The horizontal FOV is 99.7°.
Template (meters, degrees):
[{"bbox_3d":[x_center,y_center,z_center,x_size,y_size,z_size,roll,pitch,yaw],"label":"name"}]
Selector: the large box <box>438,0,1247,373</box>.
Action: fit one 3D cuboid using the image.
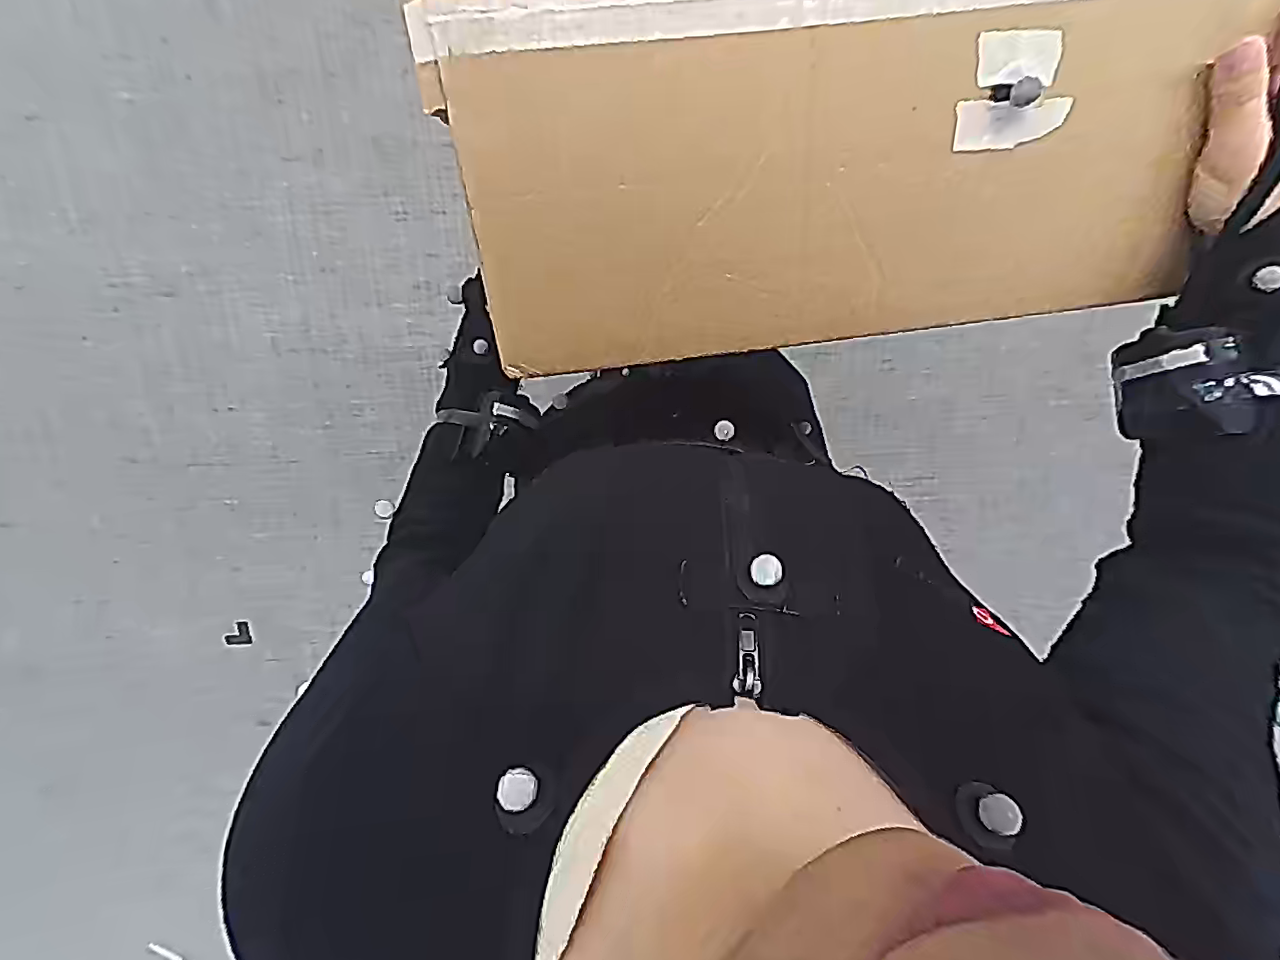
[{"bbox_3d":[0.086,-0.292,0.385,0.408,0.320,0.320,-9,119,-5],"label":"large box"}]
